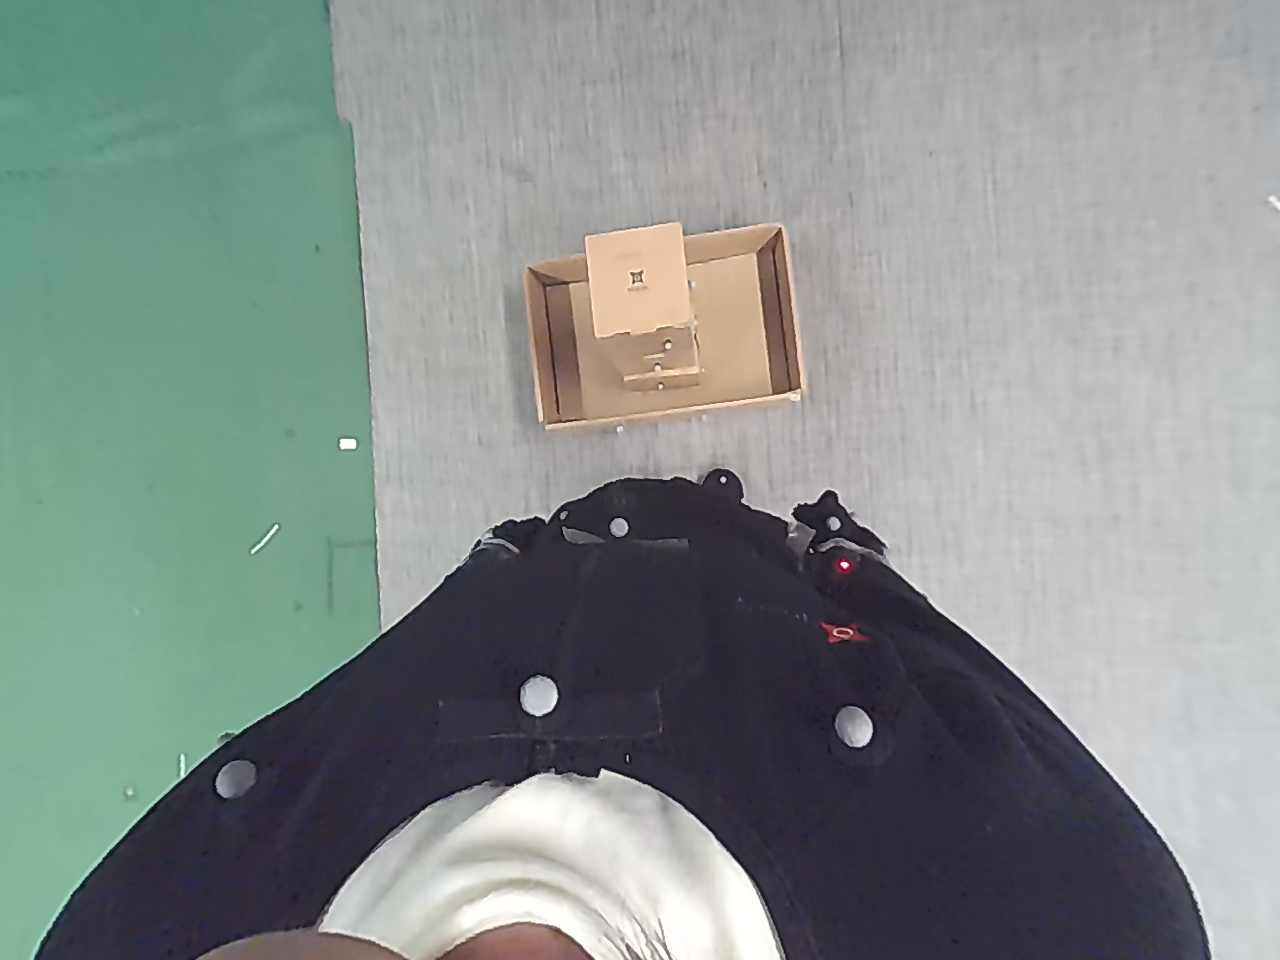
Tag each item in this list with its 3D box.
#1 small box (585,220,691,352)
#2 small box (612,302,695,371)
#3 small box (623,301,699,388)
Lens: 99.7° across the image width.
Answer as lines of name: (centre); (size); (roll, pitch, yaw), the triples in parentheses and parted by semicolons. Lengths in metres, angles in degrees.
small box: (0.003, -0.340, 0.985); (0.168, 0.176, 0.179); (-6, 88, 6)
small box: (0.025, -0.341, 1.165); (0.168, 0.176, 0.179); (-8, 88, 8)
small box: (0.053, -0.325, 1.323); (0.179, 0.176, 0.168); (-3, 89, 8)
